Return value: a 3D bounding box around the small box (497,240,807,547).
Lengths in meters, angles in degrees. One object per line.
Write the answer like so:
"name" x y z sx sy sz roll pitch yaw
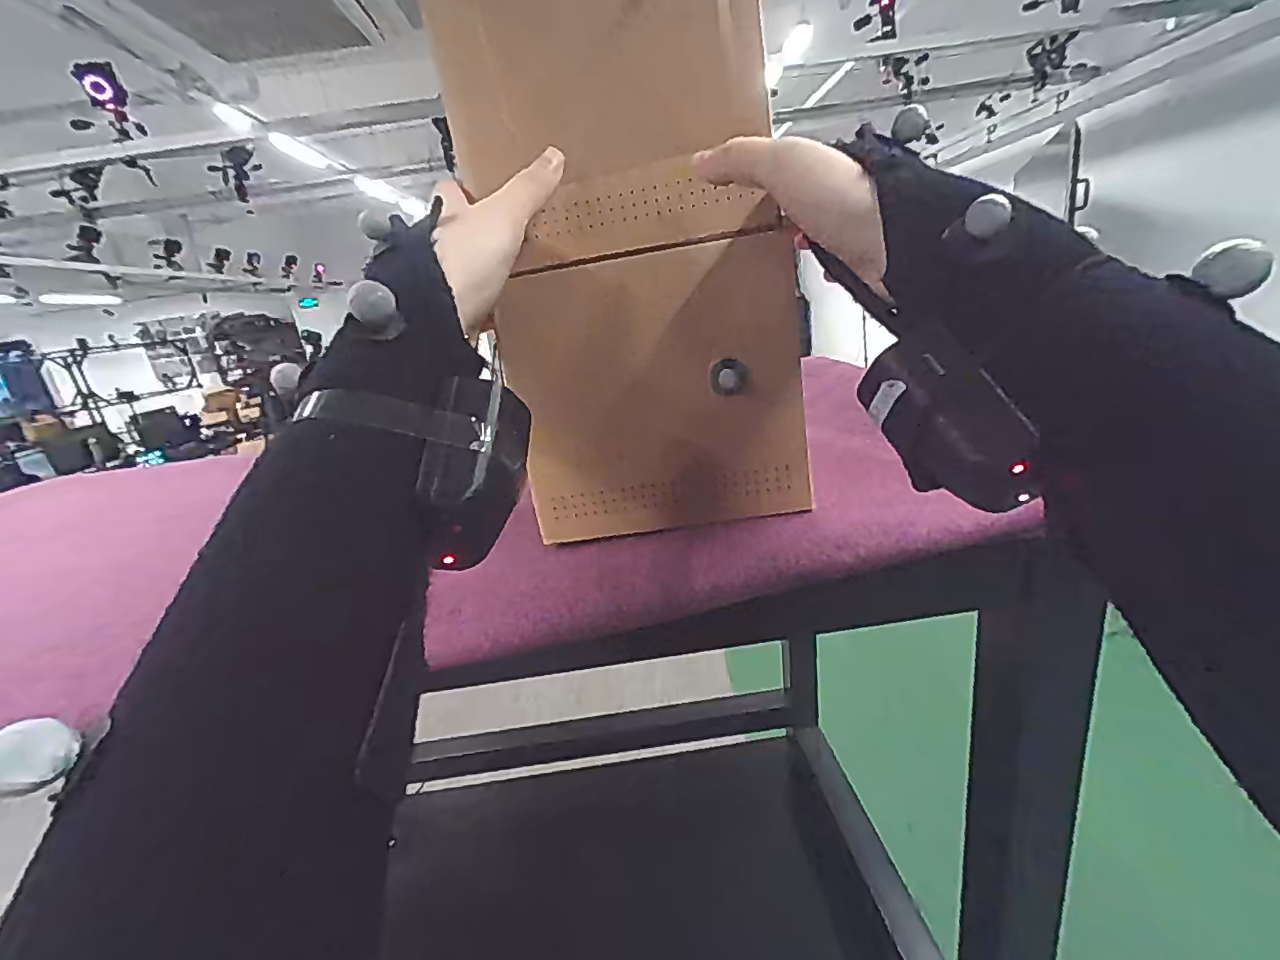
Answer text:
"small box" 0.019 -0.063 0.402 0.179 0.176 0.168 -9 14 5

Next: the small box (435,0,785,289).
"small box" -0.008 -0.220 0.366 0.179 0.176 0.168 -7 15 8
